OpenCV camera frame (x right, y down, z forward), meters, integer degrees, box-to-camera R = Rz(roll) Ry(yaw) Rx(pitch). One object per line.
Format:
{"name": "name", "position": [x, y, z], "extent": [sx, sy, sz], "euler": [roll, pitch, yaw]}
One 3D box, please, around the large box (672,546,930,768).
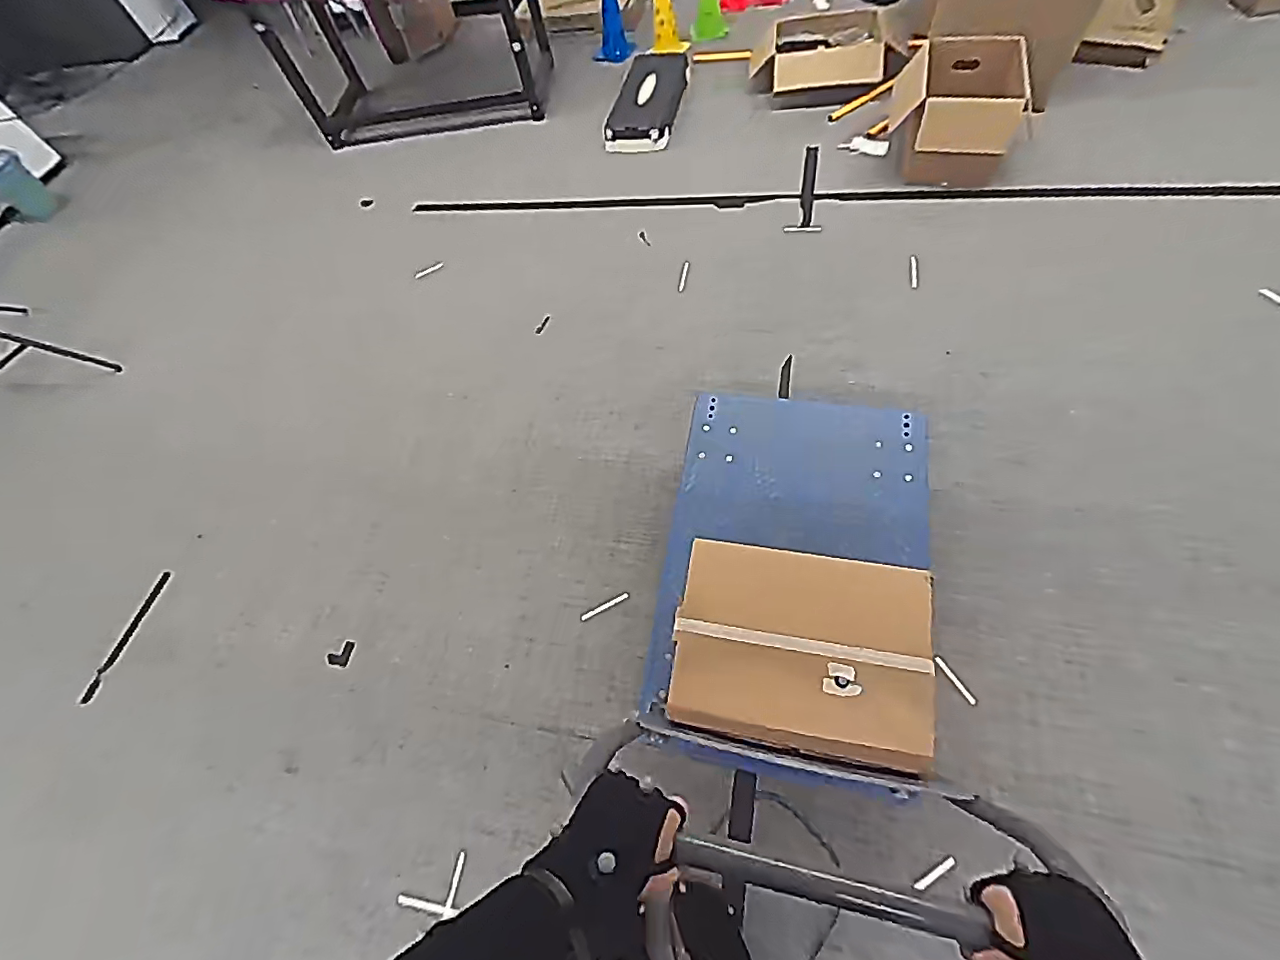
{"name": "large box", "position": [0.287, 0.337, 1.042], "extent": [0.408, 0.320, 0.320], "euler": [6, 69, 11]}
